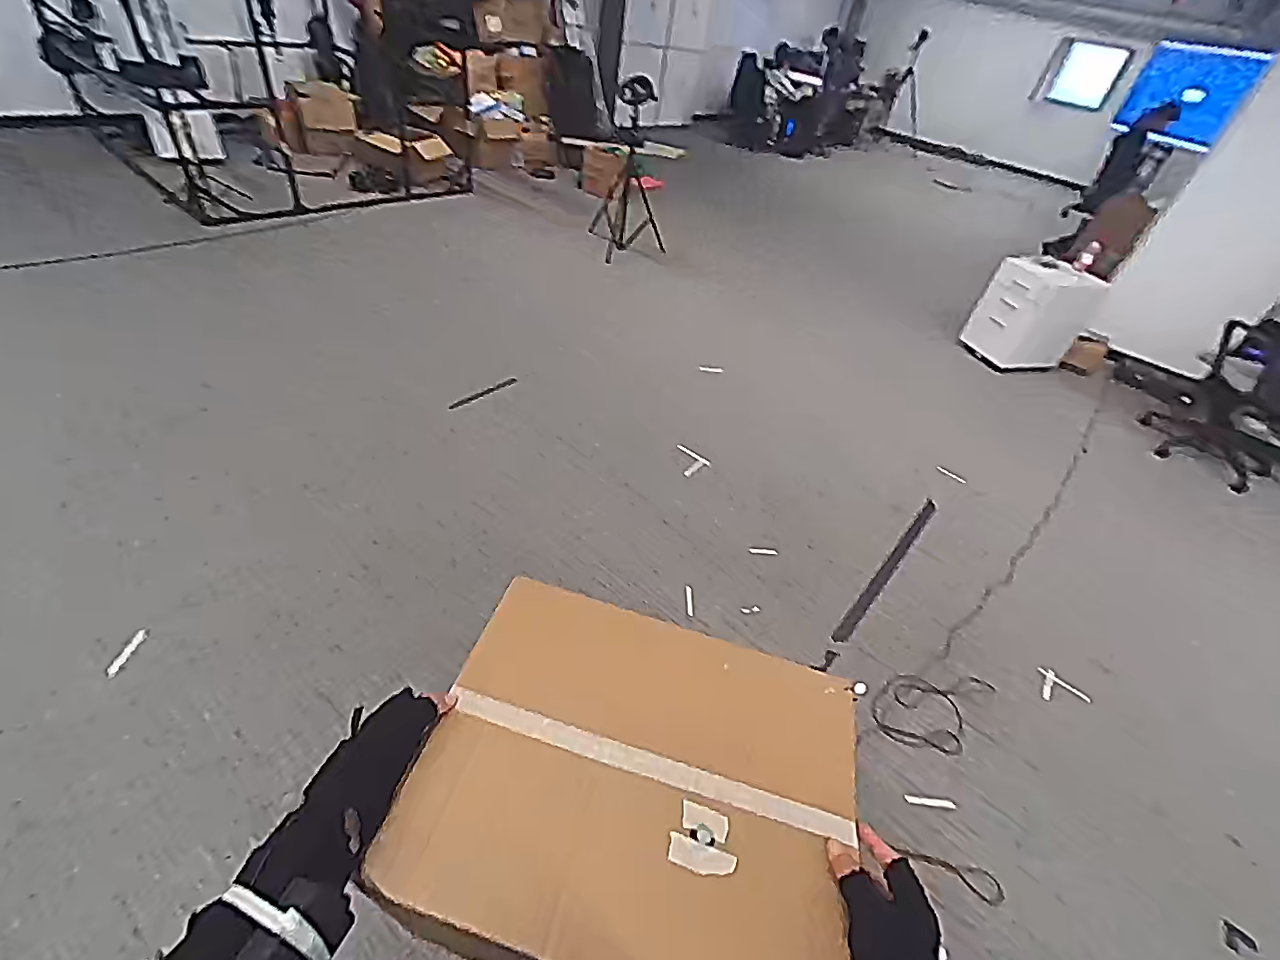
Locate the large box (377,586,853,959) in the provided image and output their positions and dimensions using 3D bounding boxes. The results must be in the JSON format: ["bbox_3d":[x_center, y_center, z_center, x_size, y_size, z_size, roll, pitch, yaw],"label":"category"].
[{"bbox_3d":[-0.011,0.384,0.630,0.408,0.320,0.320,17,45,7],"label":"large box"}]
